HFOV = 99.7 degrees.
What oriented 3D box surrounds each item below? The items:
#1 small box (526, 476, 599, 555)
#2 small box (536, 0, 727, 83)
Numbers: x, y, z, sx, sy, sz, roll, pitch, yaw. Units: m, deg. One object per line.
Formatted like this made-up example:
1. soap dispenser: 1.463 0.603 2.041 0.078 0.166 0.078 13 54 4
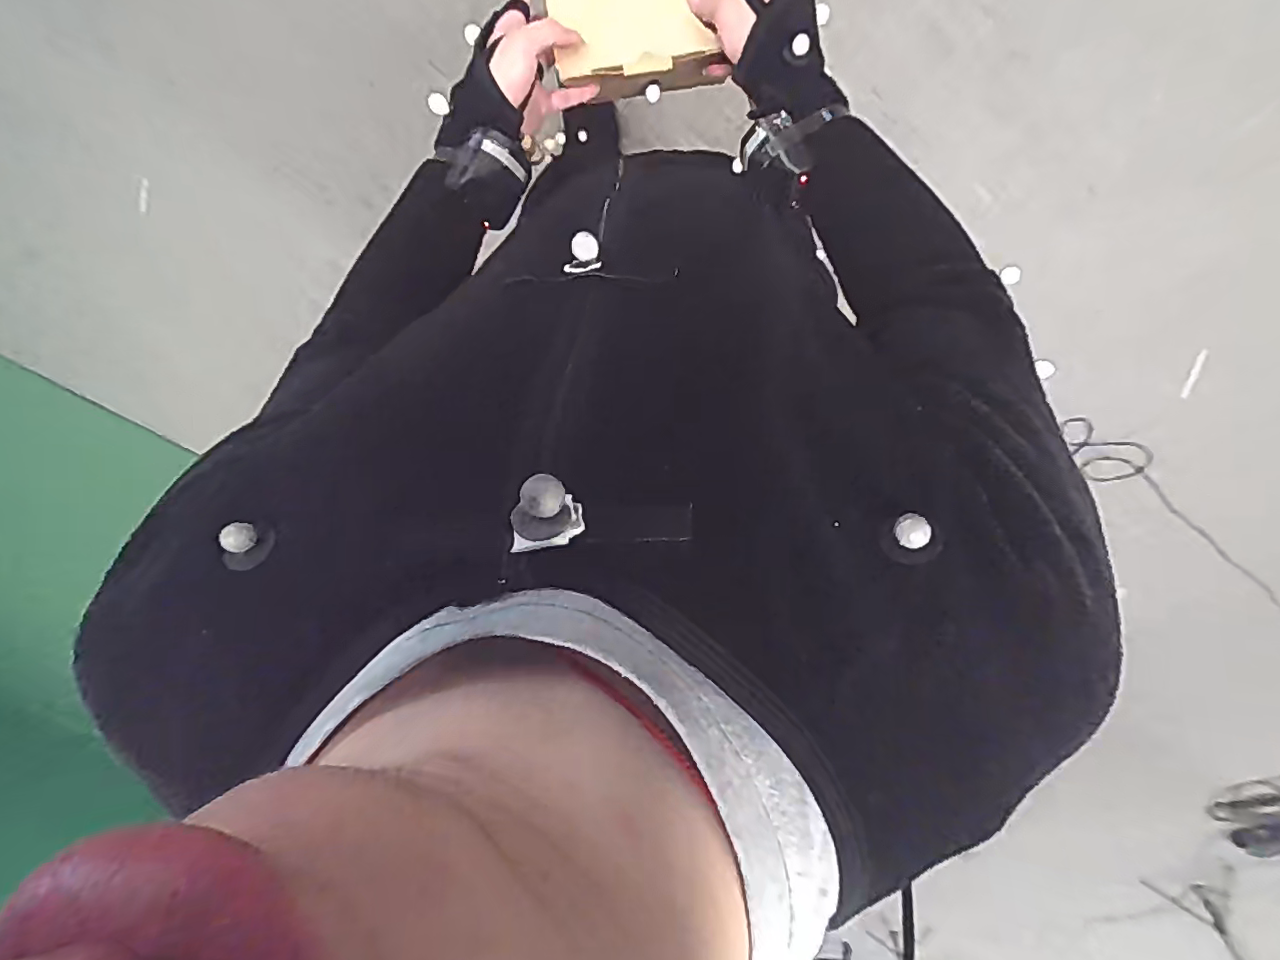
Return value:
1. small box: -0.261 0.120 1.870 0.168 0.176 0.179 38 123 -19
2. small box: -0.005 -0.489 0.502 0.168 0.176 0.179 -3 119 8
